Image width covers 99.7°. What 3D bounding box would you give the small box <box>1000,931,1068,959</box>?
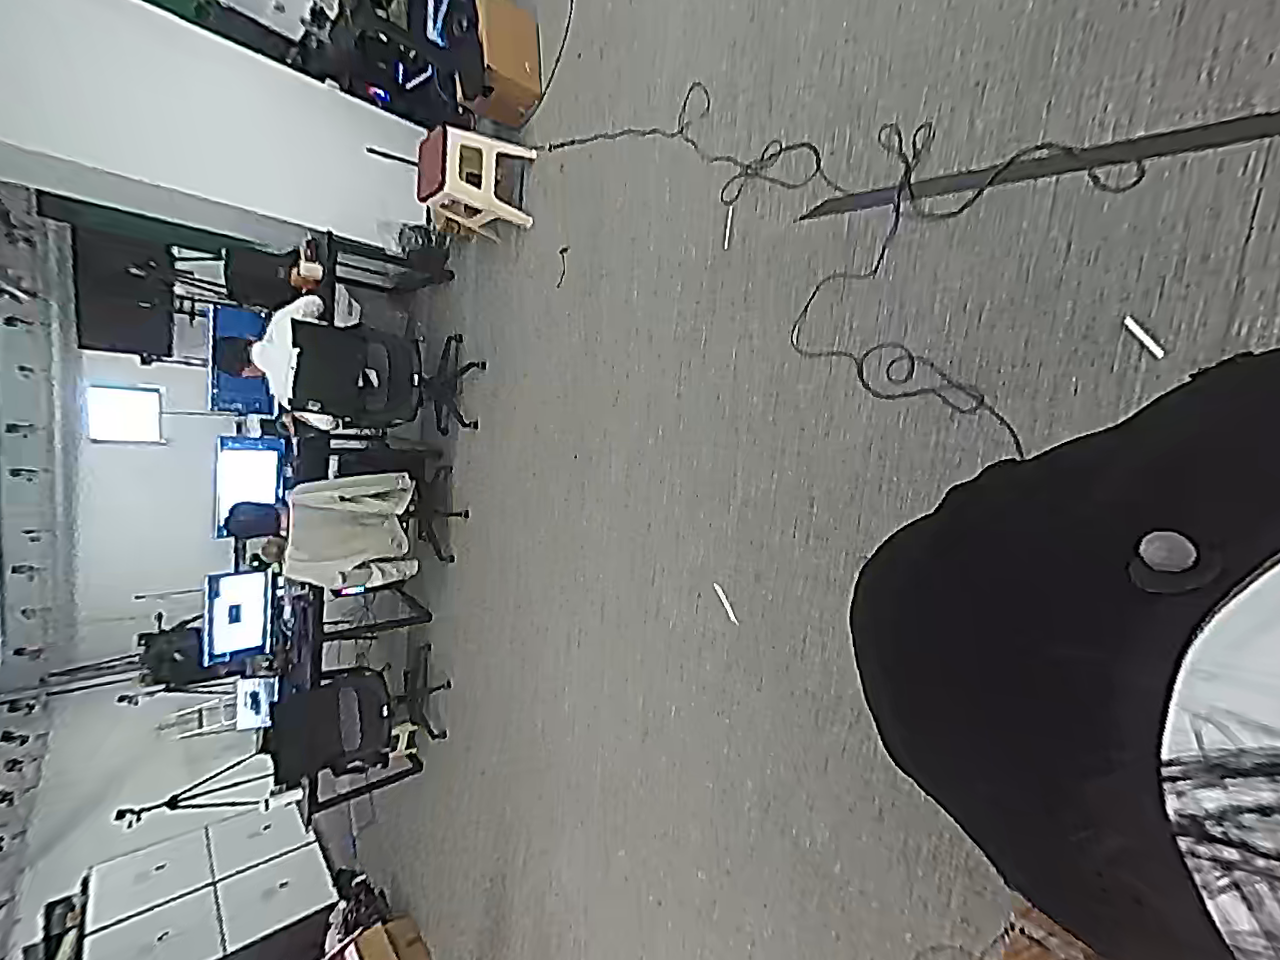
[{"bbox_3d":[0.603,0.831,0.787,0.168,0.176,0.179,14,98,46],"label":"small box"}]
